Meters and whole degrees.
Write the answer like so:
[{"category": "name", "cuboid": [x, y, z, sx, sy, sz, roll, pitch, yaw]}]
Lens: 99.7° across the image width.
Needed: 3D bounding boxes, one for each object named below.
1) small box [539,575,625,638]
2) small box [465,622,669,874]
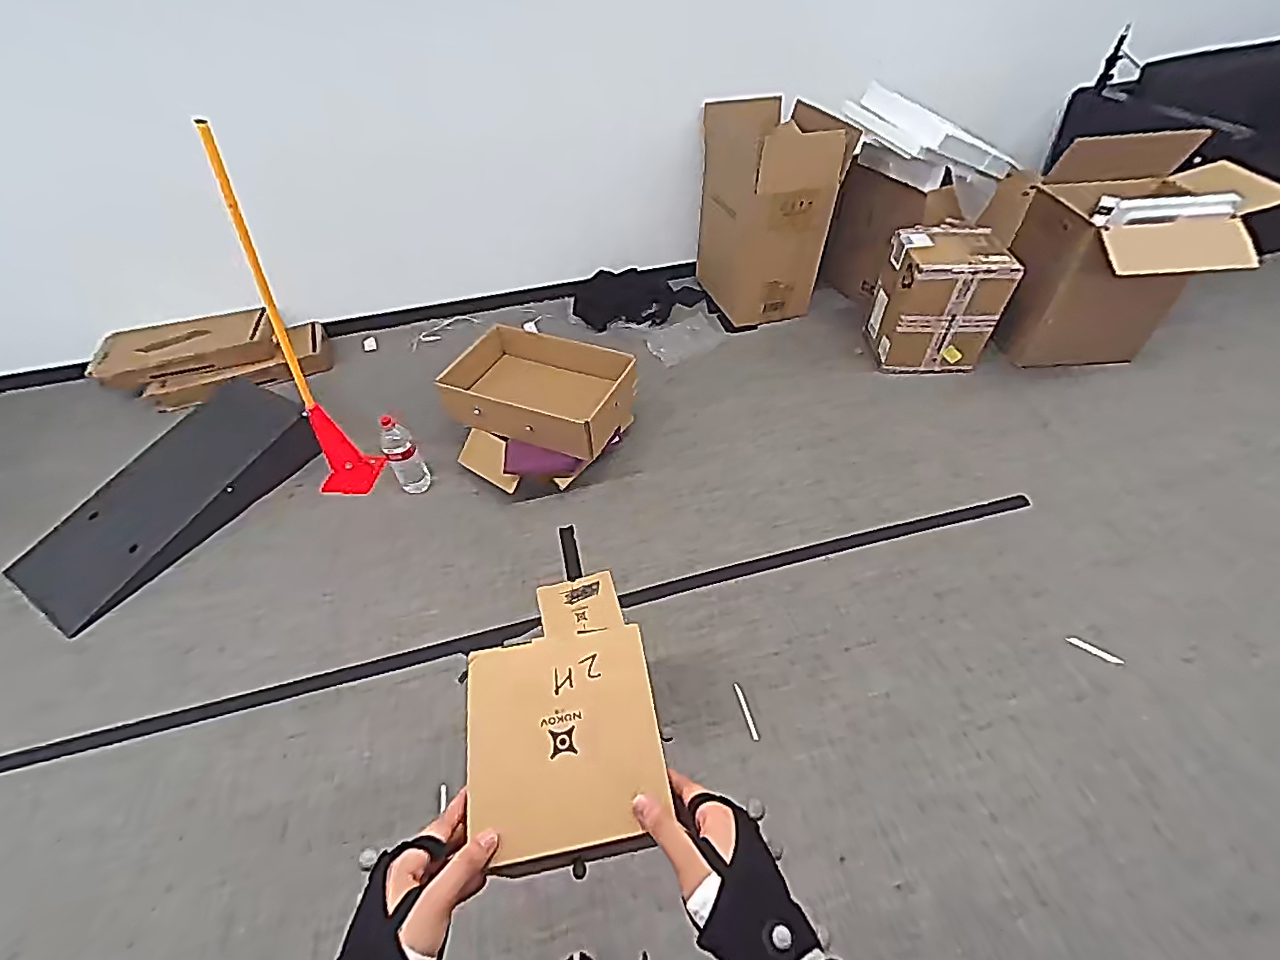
[{"category": "small box", "cuboid": [-0.117, 0.342, 1.185, 0.168, 0.176, 0.179, -14, 48, -10]}, {"category": "small box", "cuboid": [-0.067, 0.267, 0.534, 0.168, 0.176, 0.179, -10, 52, -6]}]
